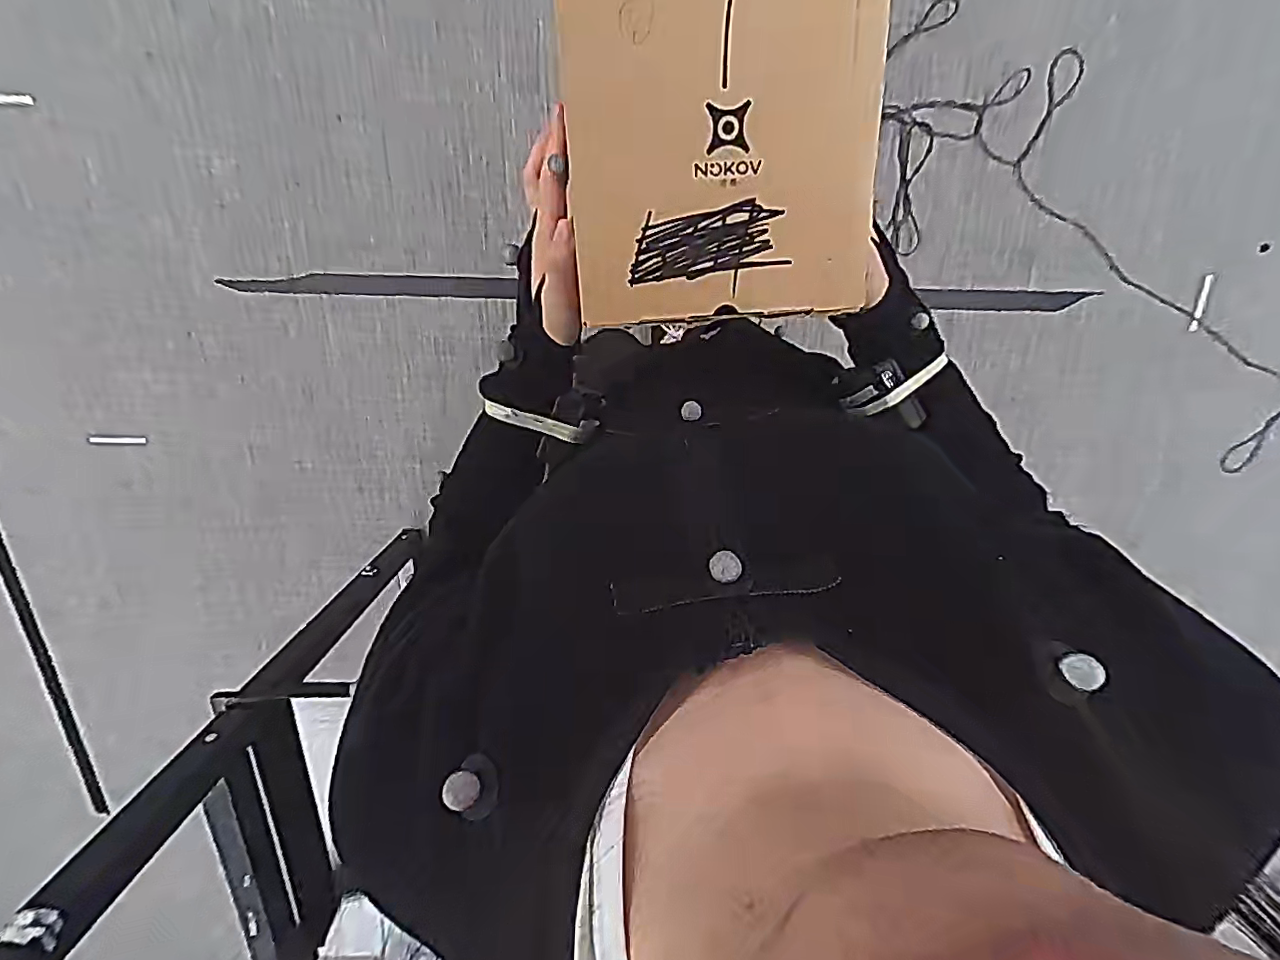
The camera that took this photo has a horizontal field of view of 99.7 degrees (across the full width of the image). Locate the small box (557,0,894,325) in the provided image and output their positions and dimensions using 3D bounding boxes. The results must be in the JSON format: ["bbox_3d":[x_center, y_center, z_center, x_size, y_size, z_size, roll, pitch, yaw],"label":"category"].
[{"bbox_3d":[0.040,-0.204,0.356,0.168,0.176,0.179,-5,110,-3],"label":"small box"}]
